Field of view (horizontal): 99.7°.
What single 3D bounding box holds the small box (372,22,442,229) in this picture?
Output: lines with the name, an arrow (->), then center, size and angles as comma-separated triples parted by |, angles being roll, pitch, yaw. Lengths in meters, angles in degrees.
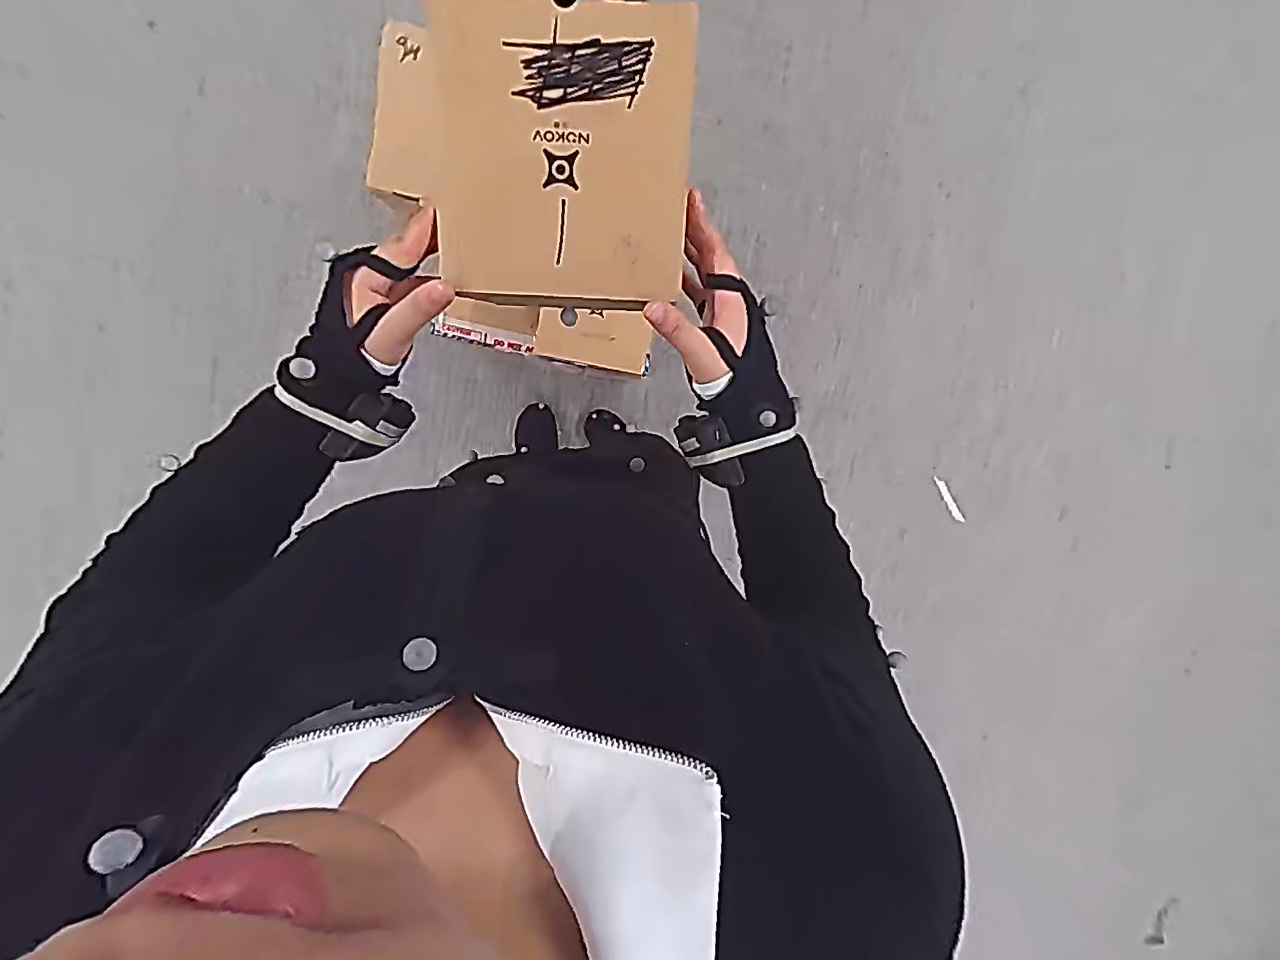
small box -> -0.210, -0.410, 0.680 | 0.168, 0.176, 0.179 | 11, 100, -5

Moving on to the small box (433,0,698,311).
small box -> -0.051, -0.232, 0.428 | 0.168, 0.176, 0.179 | 1, 106, -2
